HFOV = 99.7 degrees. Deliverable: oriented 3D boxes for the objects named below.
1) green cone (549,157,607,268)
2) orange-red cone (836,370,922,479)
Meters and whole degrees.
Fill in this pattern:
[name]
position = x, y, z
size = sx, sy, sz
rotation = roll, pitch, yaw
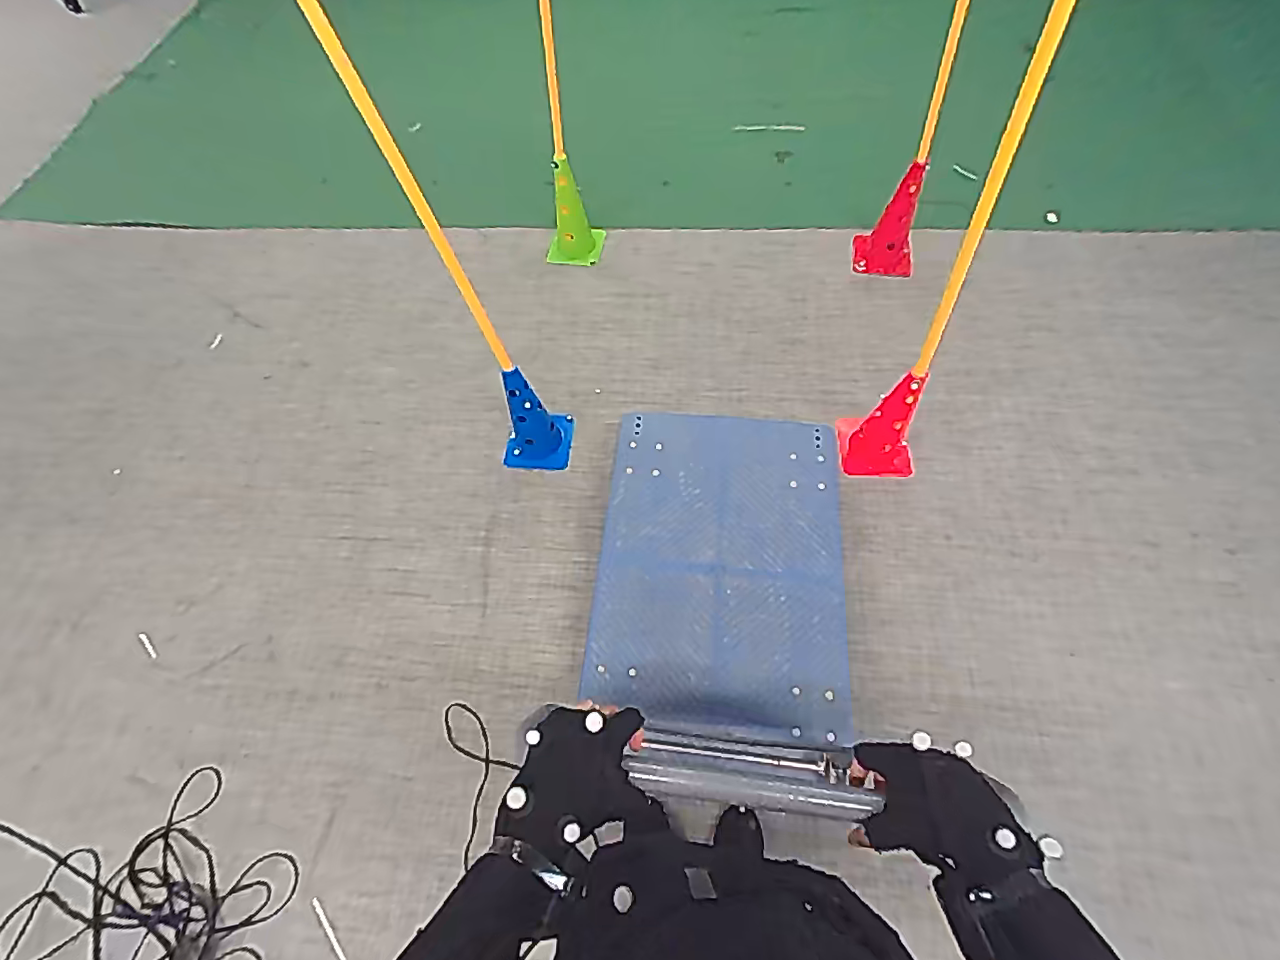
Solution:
[green cone]
position = -0.252, -0.975, 1.944
size = 0.202, 0.368, 0.200
rotation = 6, 63, 8
[orange-red cone]
position = 0.680, -0.170, 1.470
size = 0.199, 0.360, 0.198
rotation = 1, 62, 6
